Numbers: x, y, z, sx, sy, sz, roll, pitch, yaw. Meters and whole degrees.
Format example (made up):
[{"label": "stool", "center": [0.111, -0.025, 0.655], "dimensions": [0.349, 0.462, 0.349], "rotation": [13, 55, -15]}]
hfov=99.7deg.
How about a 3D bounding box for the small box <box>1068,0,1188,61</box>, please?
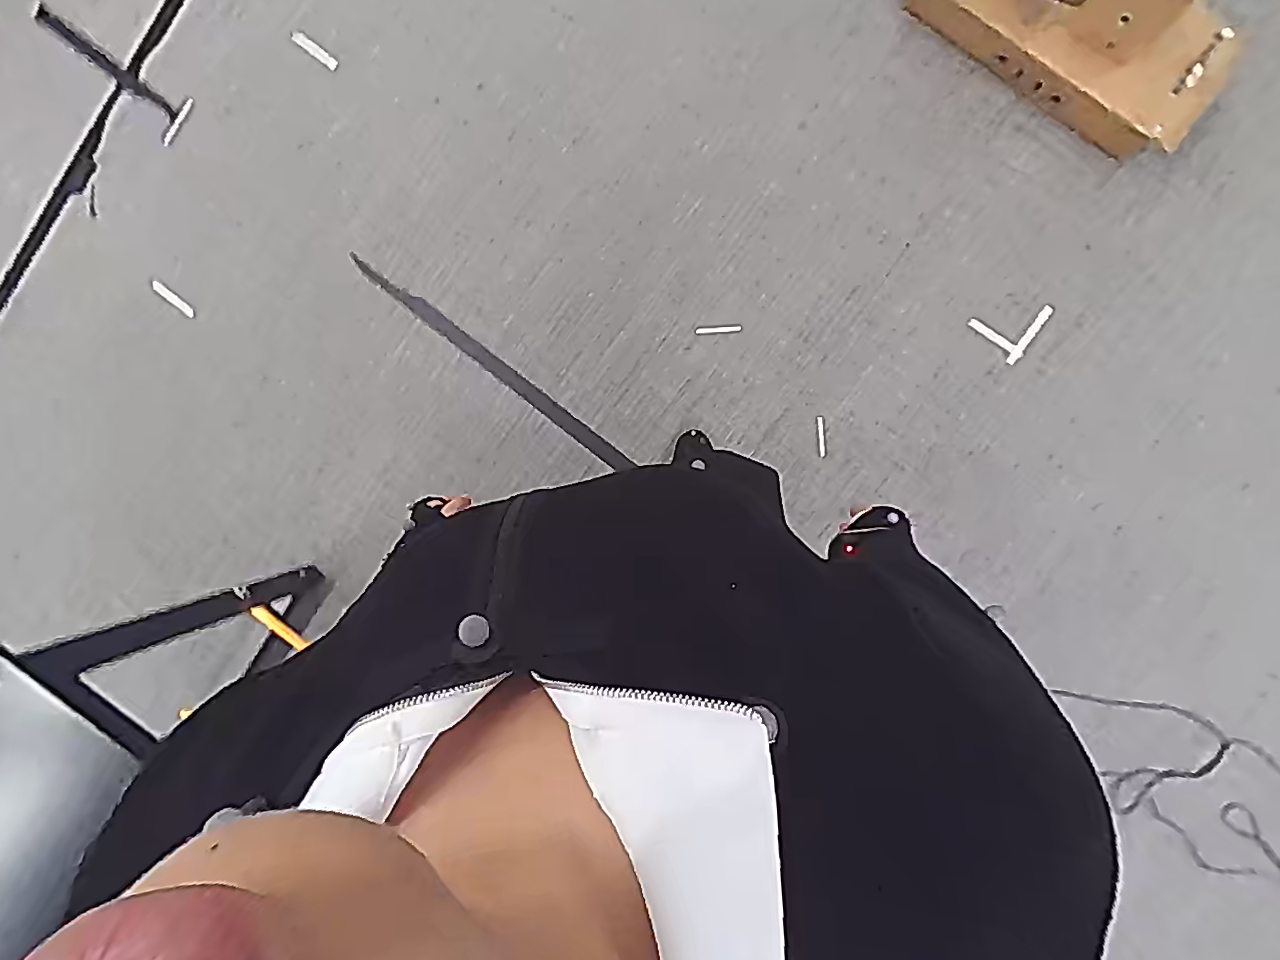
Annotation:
[{"label": "small box", "center": [1.097, -1.081, 1.182], "dimensions": [0.168, 0.176, 0.179], "rotation": [34, 94, 1]}]
